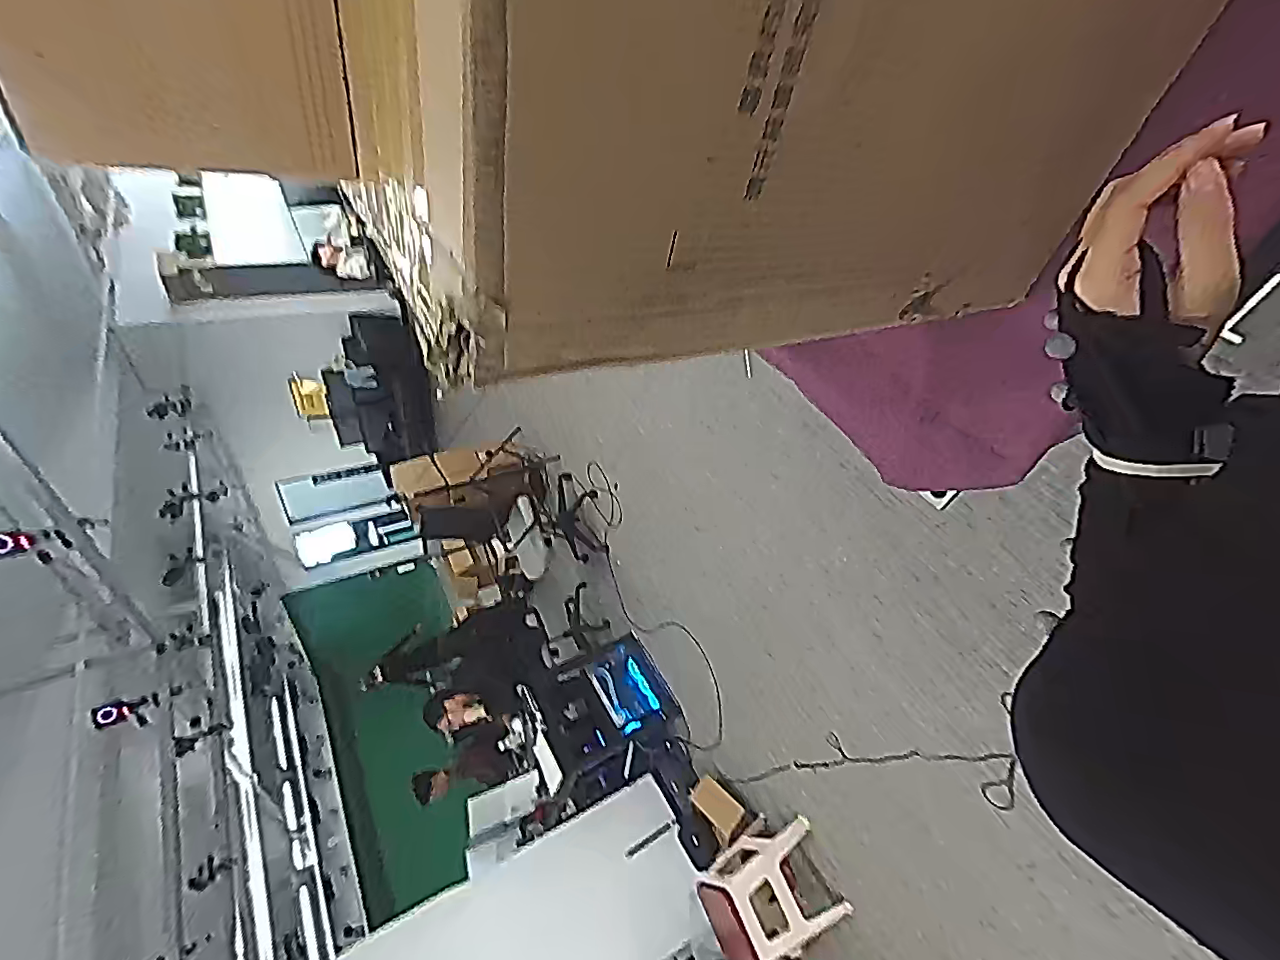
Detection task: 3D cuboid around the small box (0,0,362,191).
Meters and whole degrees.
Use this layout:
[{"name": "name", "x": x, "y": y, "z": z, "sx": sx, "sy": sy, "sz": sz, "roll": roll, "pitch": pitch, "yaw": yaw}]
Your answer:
[{"name": "small box", "x": -0.289, "y": -0.301, "z": 0.336, "sx": 0.168, "sy": 0.176, "sz": 0.179, "roll": 52, "pitch": 143, "yaw": 35}]
